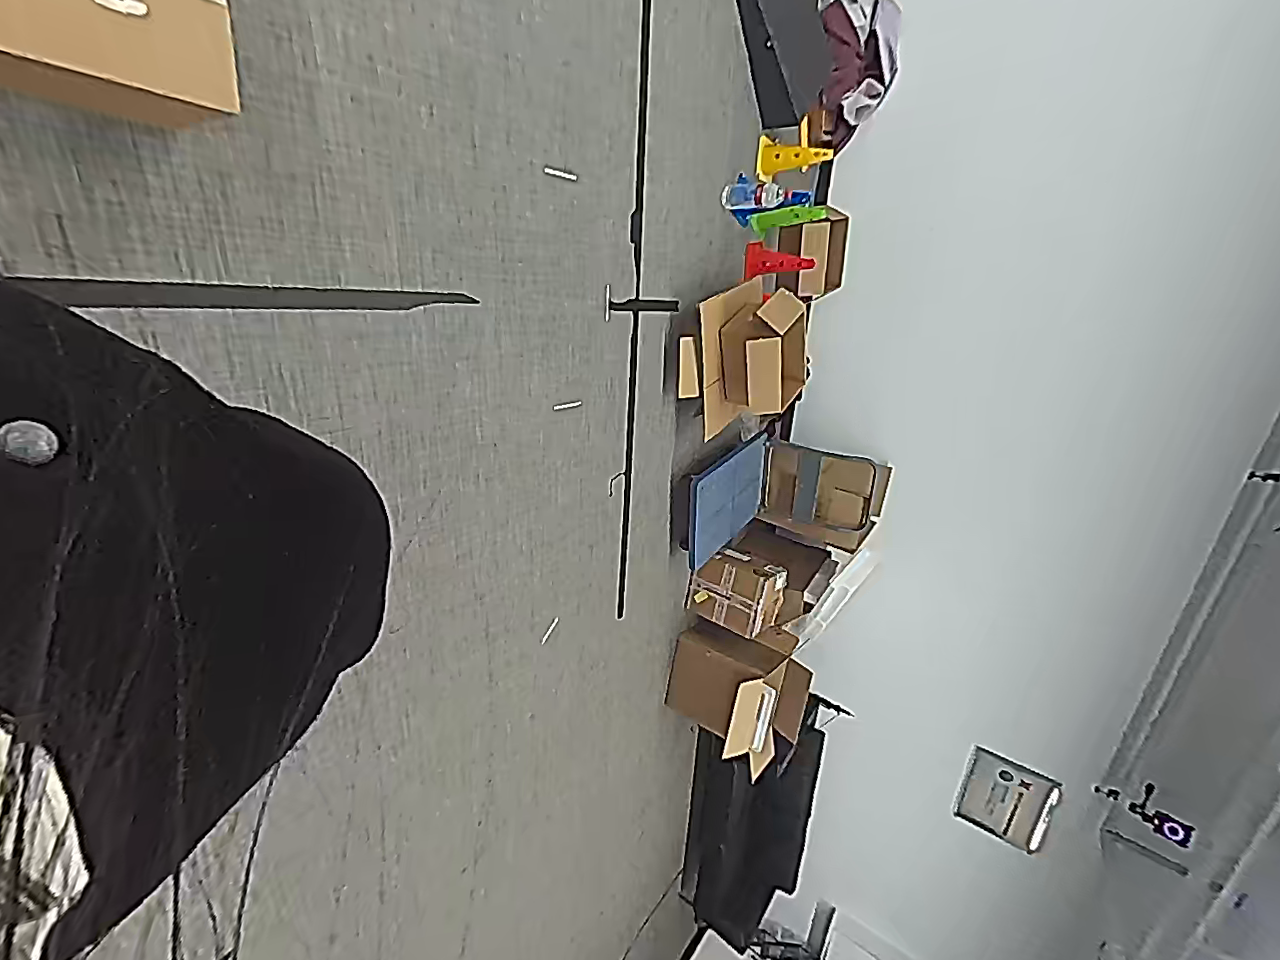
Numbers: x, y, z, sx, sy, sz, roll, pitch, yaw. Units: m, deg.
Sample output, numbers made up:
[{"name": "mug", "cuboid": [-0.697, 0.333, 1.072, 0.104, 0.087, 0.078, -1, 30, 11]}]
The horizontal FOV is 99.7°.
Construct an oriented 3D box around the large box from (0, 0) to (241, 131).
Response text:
[{"name": "large box", "cuboid": [-0.888, -0.743, 0.773, 0.408, 0.320, 0.320, -20, 121, -52]}]
